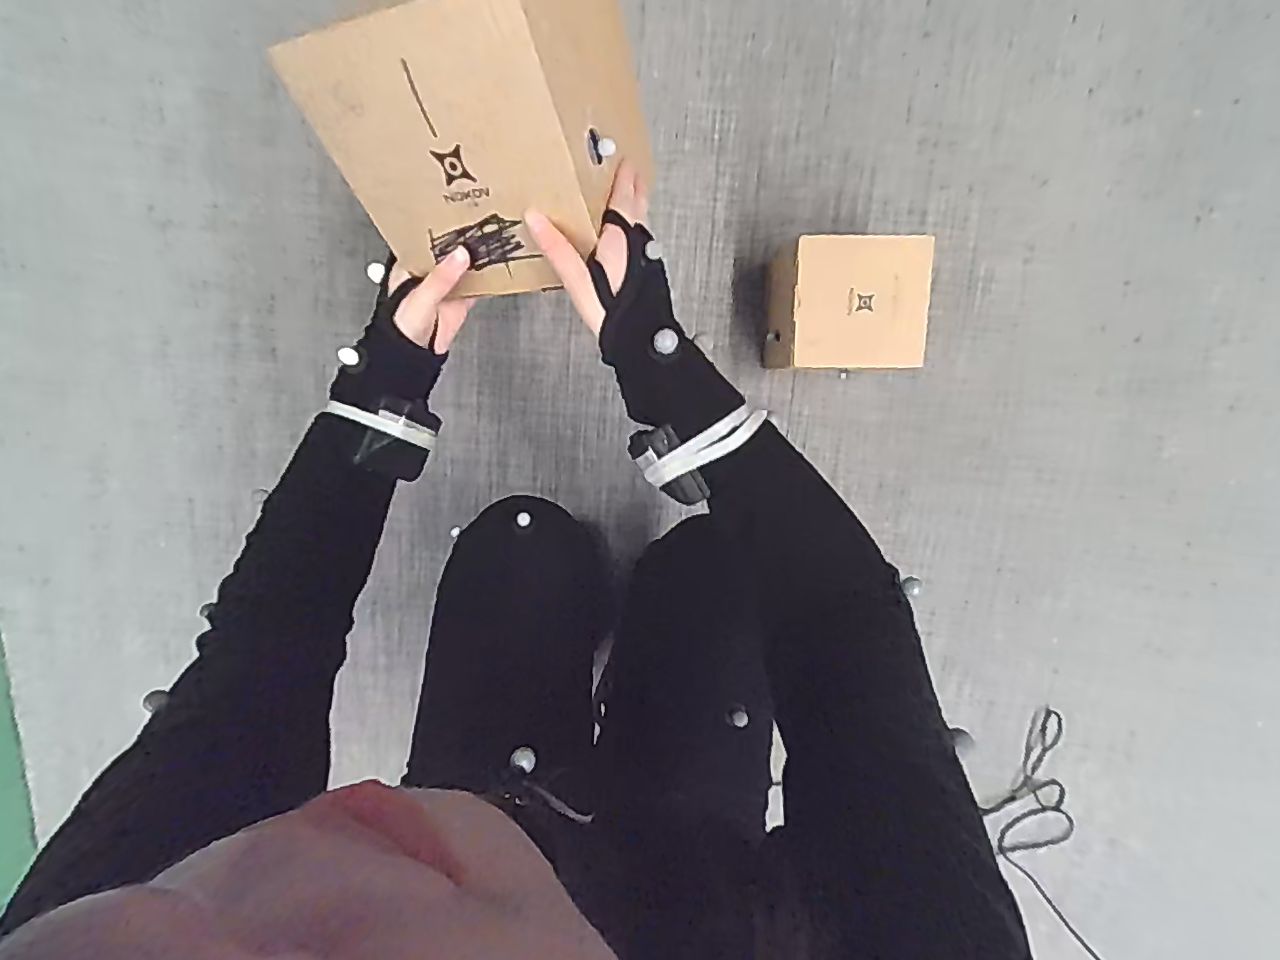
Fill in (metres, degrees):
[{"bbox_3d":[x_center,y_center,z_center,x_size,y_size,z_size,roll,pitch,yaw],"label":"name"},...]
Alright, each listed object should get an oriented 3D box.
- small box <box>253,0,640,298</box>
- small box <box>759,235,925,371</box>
[{"bbox_3d":[-0.109,-0.260,0.393,0.168,0.176,0.179,2,145,19],"label":"small box"},{"bbox_3d":[0.276,-0.245,0.782,0.179,0.176,0.168,1,101,0],"label":"small box"}]
